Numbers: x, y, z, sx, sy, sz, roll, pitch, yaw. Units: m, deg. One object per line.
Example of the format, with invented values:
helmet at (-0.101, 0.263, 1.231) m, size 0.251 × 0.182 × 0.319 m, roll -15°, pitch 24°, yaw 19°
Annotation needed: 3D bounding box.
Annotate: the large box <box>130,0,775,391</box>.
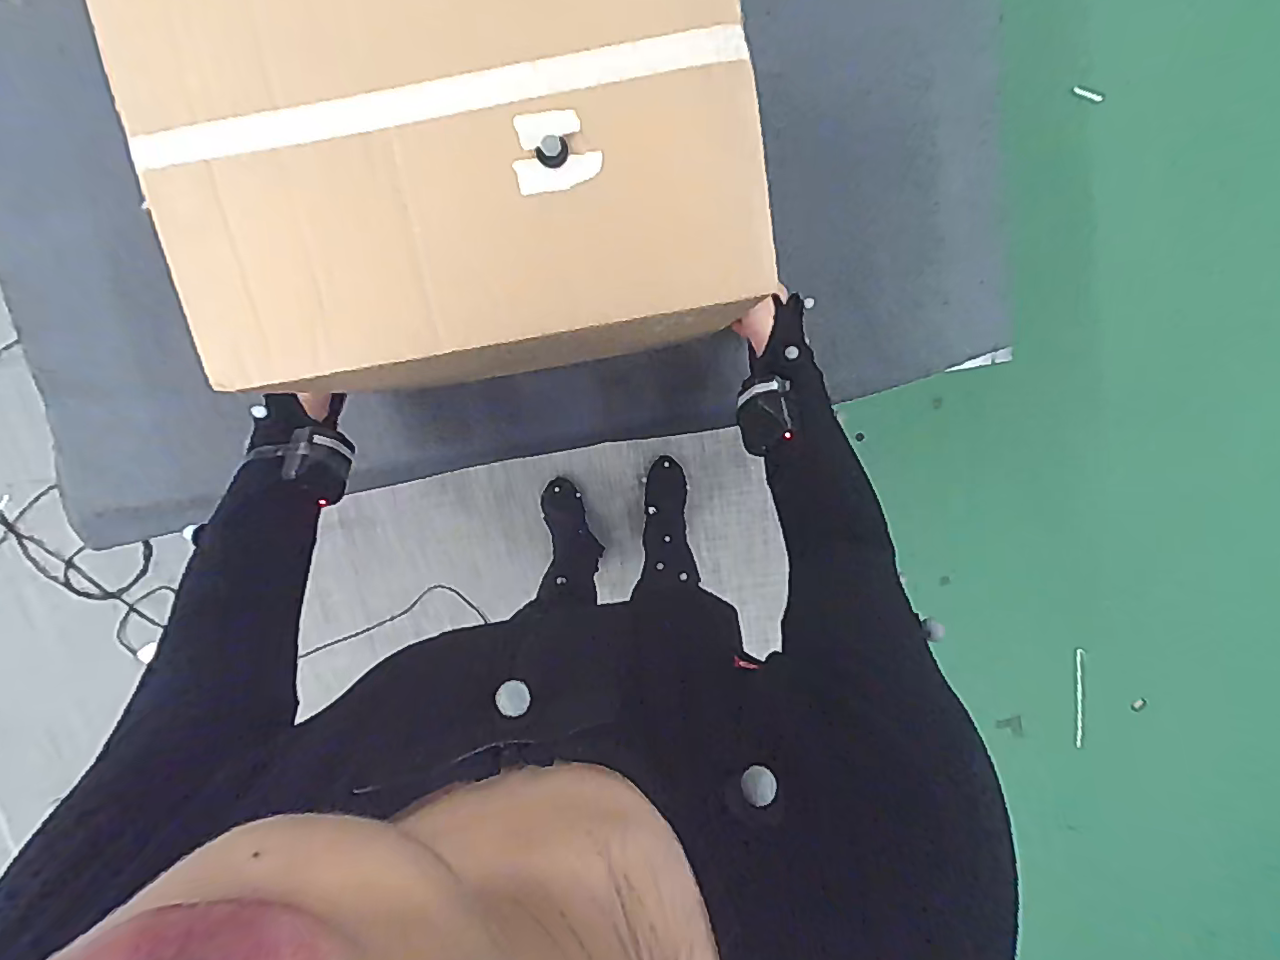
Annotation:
large box at (-0.128, -0.276, 0.518) m, size 0.408 × 0.320 × 0.320 m, roll -11°, pitch 100°, yaw 0°
